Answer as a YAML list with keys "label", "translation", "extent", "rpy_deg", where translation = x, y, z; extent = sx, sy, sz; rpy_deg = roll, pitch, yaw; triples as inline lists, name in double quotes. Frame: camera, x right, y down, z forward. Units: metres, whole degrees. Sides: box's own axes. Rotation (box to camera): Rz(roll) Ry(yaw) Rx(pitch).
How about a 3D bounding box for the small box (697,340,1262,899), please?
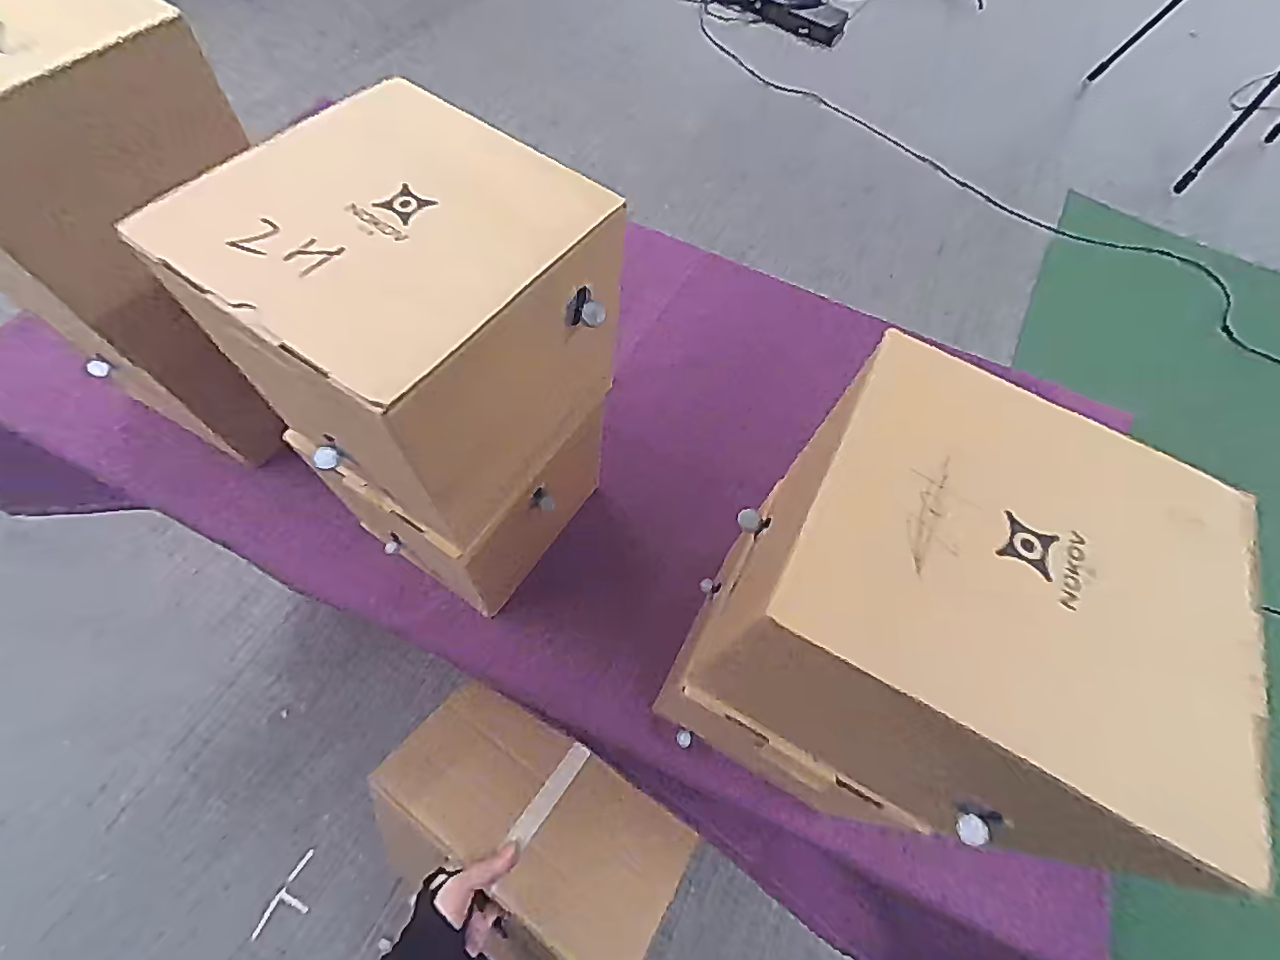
- label: "small box"
  translation: [0.152, 0.067, 0.289]
  extent: [0.179, 0.176, 0.168]
  rpy_deg: [29, 64, 9]

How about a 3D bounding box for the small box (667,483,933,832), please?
- label: "small box"
  translation: [0.132, 0.141, 0.434]
  extent: [0.168, 0.176, 0.179]
  rpy_deg: [28, 63, 9]

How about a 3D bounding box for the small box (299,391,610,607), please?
- label: "small box"
  translation: [-0.145, -0.015, 0.486]
  extent: [0.168, 0.176, 0.179]
  rpy_deg: [32, 66, 11]

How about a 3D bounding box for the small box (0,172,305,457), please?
- label: "small box"
  translation: [-0.408, -0.149, 0.523]
  extent: [0.179, 0.176, 0.168]
  rpy_deg: [28, 65, 9]

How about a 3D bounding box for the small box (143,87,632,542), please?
- label: "small box"
  translation: [-0.125, -0.092, 0.341]
  extent: [0.168, 0.176, 0.179]
  rpy_deg: [33, 66, 11]
